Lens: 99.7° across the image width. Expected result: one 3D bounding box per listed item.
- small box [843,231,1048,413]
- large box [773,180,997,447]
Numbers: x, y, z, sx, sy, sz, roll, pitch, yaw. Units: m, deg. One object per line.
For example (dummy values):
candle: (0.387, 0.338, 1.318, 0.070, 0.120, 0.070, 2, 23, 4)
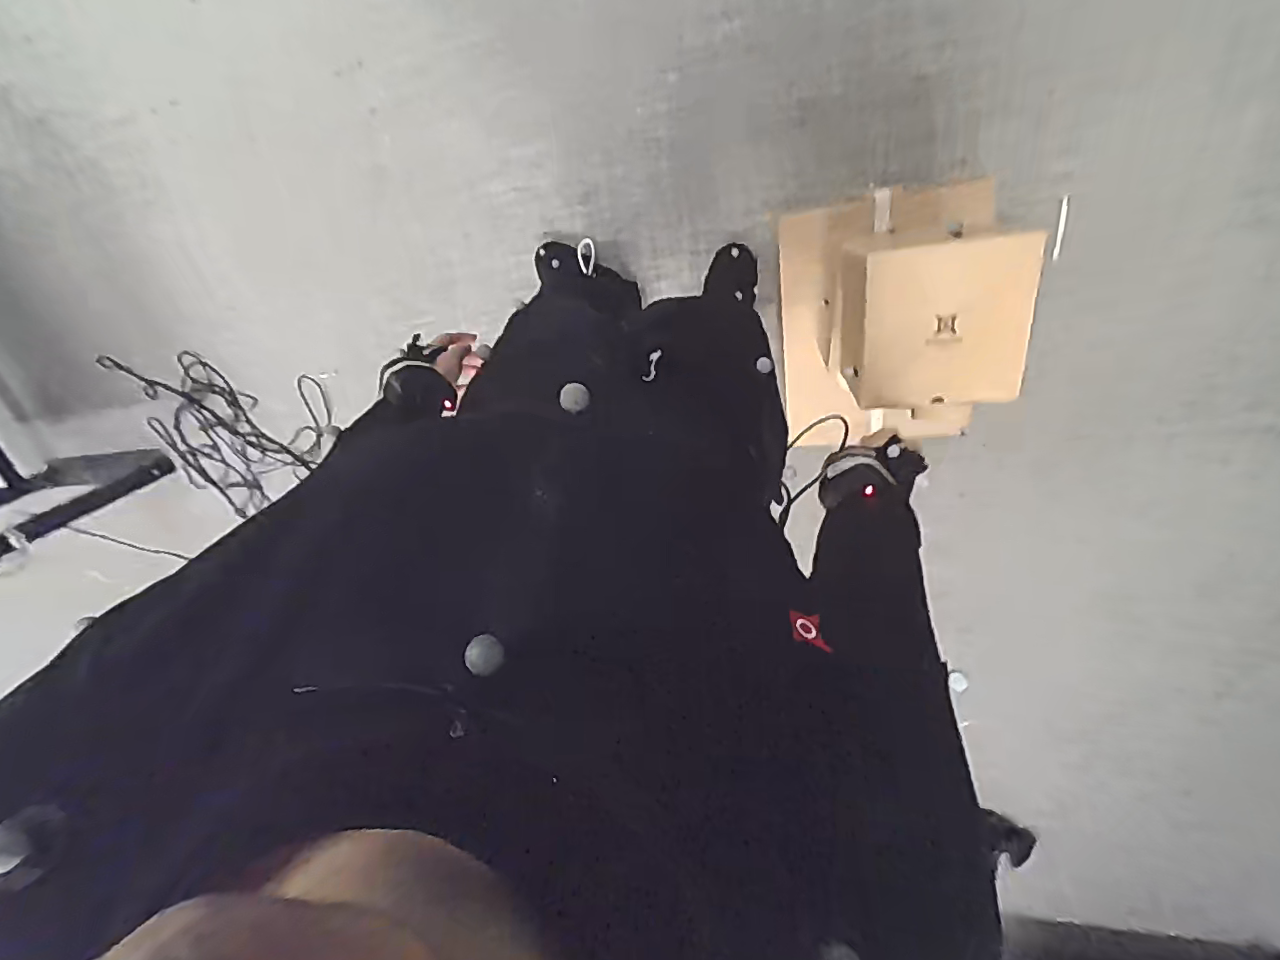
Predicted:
small box: (0.343, -0.195, 0.648, 0.168, 0.176, 0.179, -3, 117, 13)
large box: (0.430, -0.318, 1.033, 0.320, 0.320, 0.408, -3, 118, 14)
